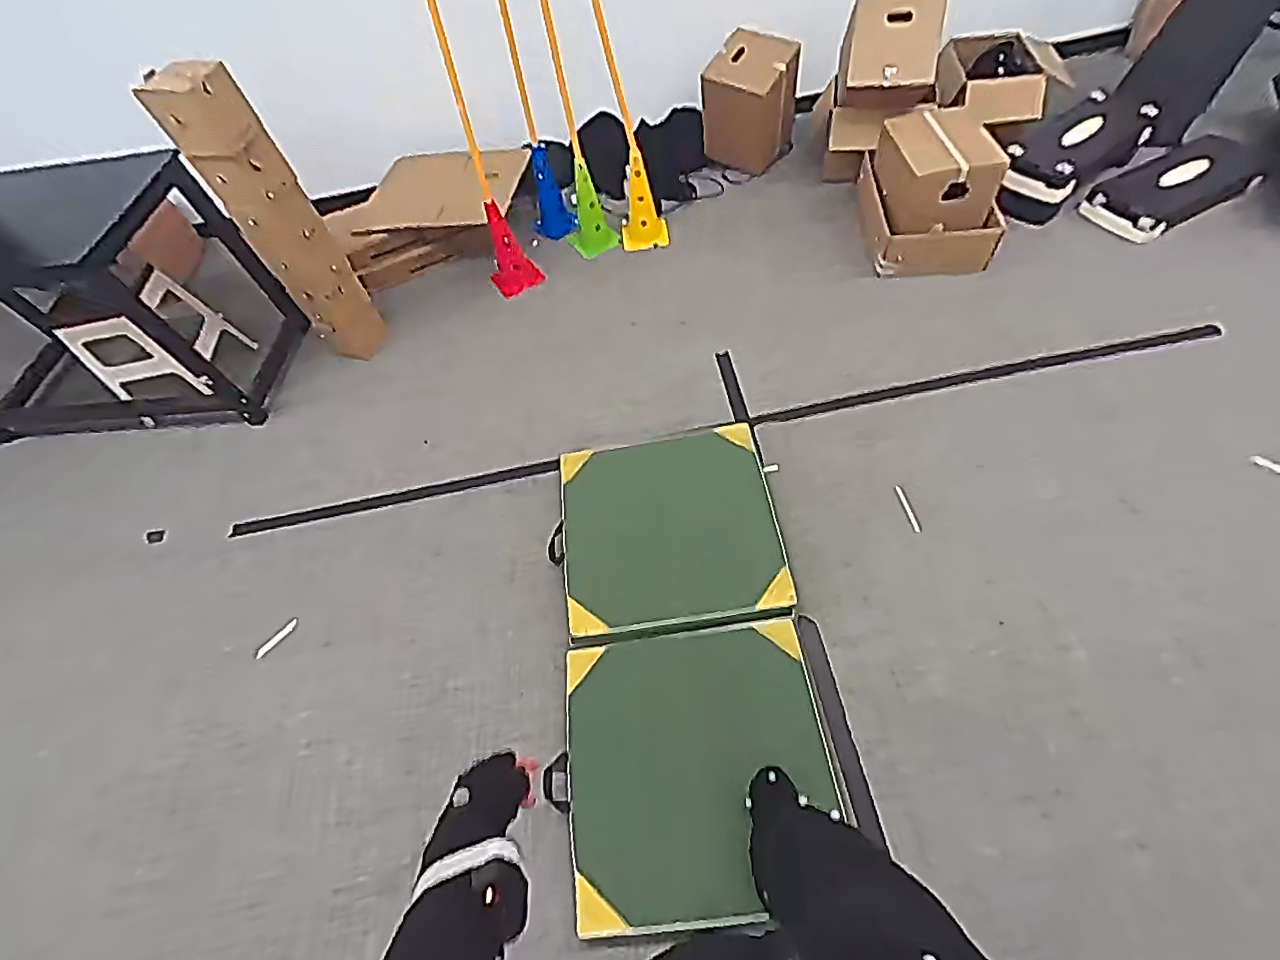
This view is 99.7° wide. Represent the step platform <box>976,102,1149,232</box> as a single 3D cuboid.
[{"bbox_3d":[1.737,-1.299,2.226,0.684,0.204,0.286,-36,60,-14],"label":"step platform"}]
